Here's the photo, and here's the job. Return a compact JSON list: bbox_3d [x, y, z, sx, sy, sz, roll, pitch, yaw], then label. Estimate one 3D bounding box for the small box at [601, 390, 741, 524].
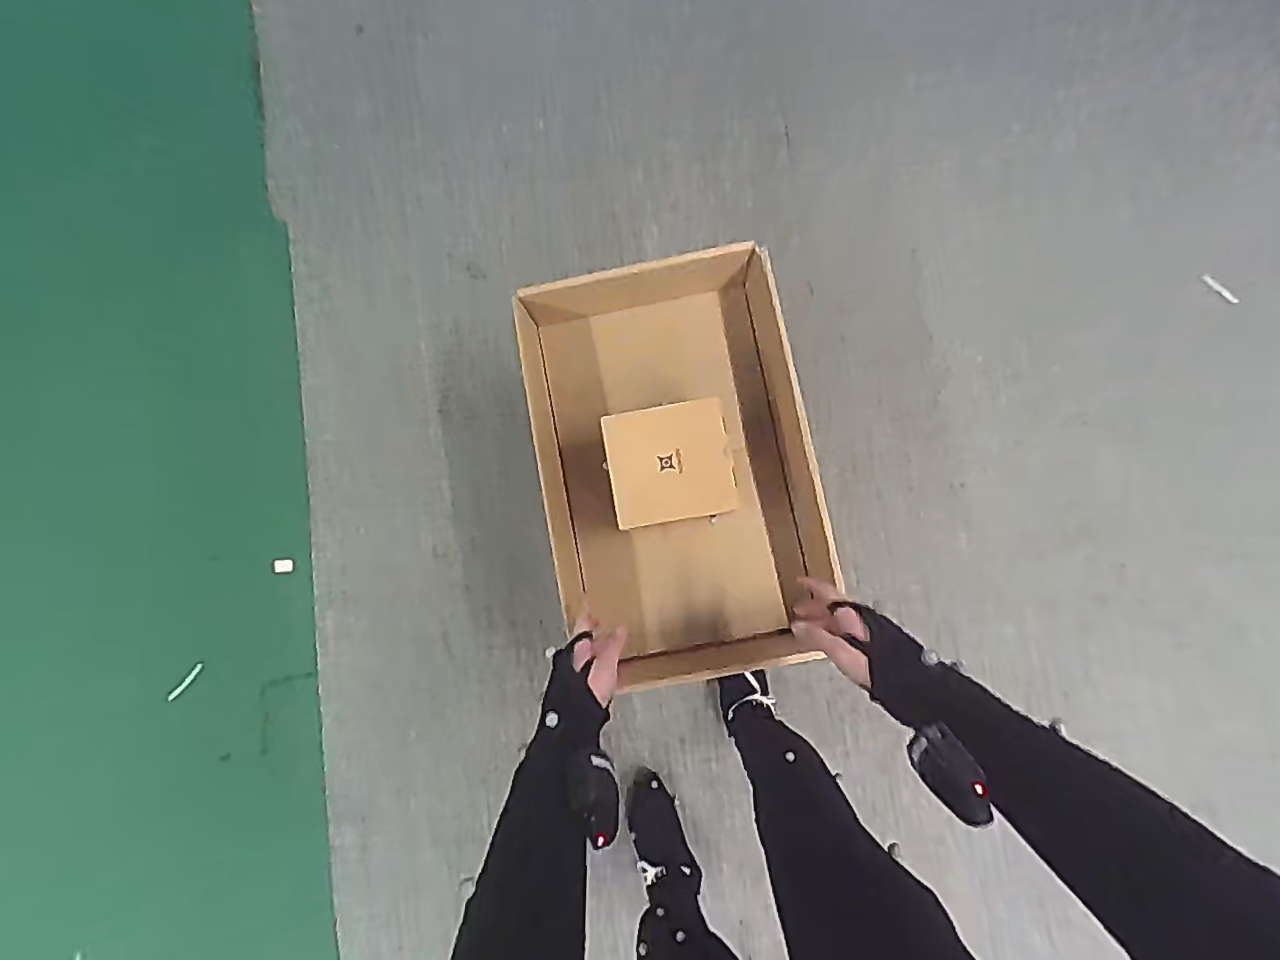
[{"bbox_3d":[0.047,-0.026,0.832,0.179,0.176,0.168,-10,84,1],"label":"small box"}]
